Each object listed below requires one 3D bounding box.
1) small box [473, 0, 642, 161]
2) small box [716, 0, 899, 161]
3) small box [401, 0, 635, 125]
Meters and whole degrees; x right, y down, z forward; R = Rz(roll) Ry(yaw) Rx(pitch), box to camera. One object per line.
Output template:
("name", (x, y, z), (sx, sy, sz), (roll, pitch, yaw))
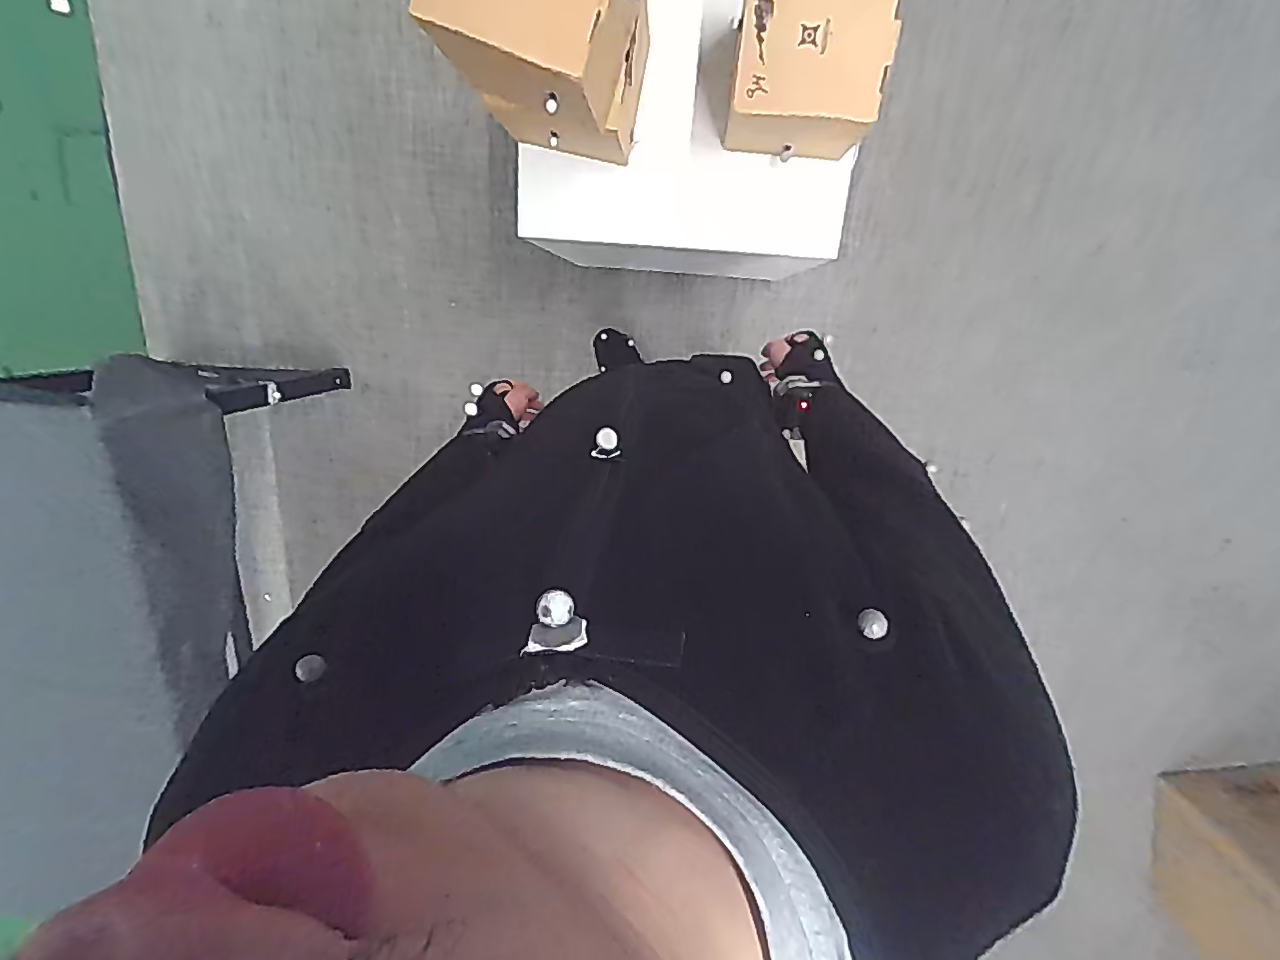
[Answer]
("small box", (-0.097, -0.543, 0.709), (0.179, 0.176, 0.168), (13, 106, -1))
("small box", (0.204, -0.531, 0.700), (0.179, 0.176, 0.168), (6, 106, 0))
("small box", (-0.108, -0.499, 0.553), (0.179, 0.176, 0.168), (19, 104, -3))
